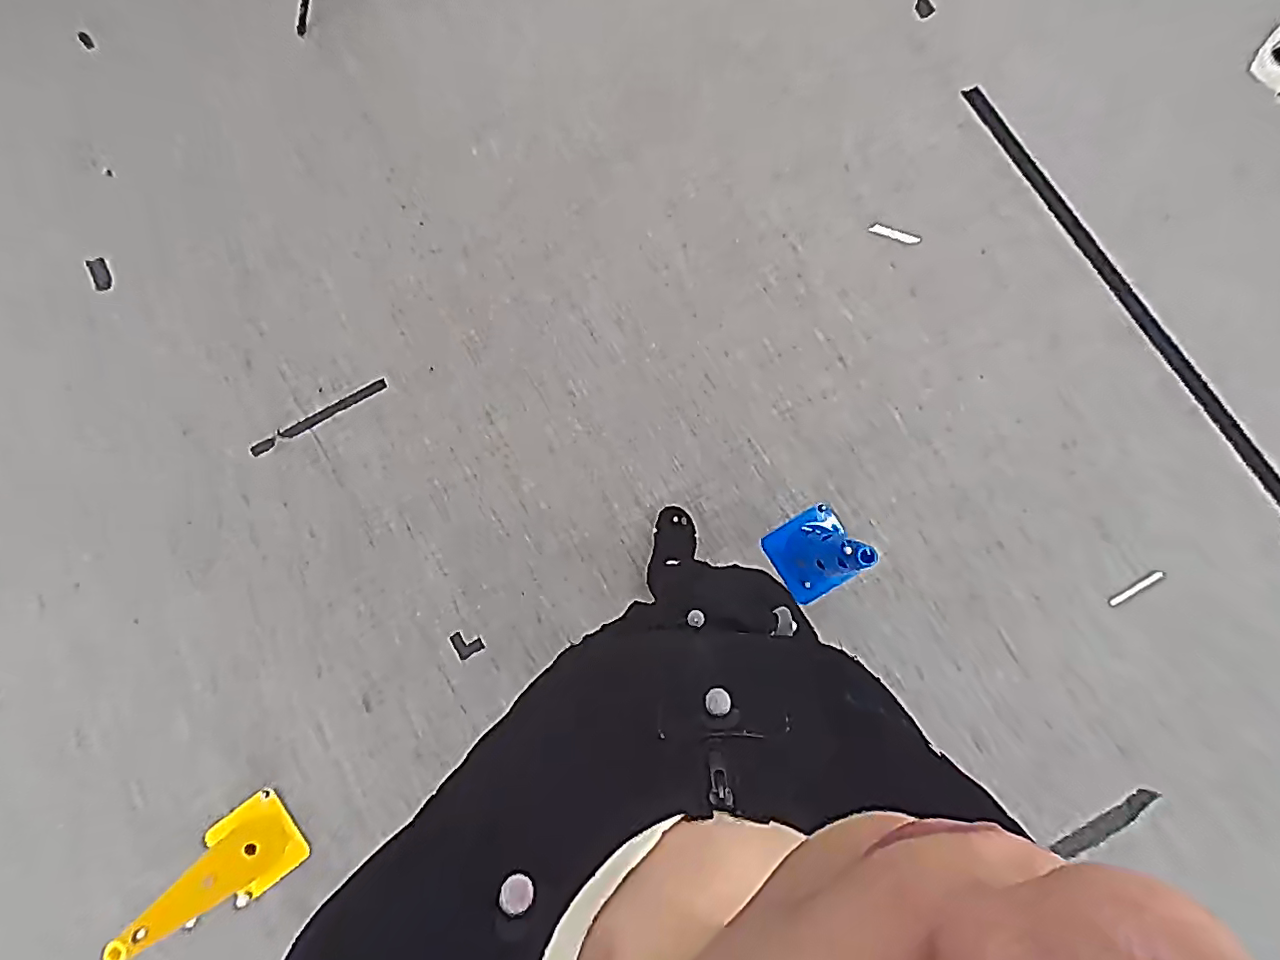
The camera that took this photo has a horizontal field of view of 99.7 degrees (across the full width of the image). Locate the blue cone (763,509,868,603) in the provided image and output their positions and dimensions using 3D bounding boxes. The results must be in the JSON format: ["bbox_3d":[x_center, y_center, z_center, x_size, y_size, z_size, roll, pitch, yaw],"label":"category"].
[{"bbox_3d":[0.420,0.171,1.189,0.193,0.380,0.192,-30,82,-2],"label":"blue cone"}]
